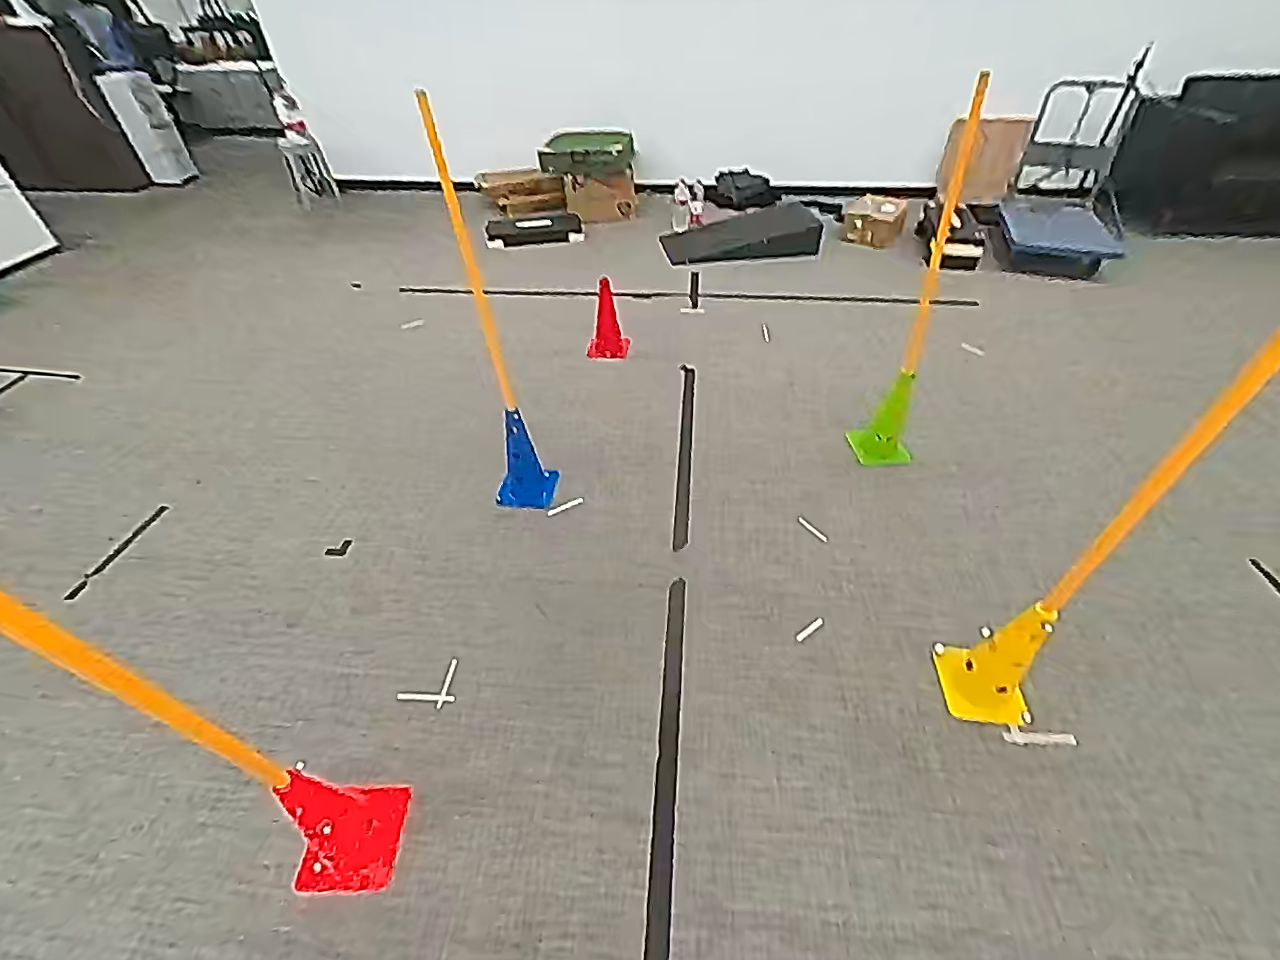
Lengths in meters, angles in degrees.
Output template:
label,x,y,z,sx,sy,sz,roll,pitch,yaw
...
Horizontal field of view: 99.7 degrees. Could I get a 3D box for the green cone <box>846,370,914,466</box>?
label,x,y,z,sx,sy,sz,roll,pitch,yaw
green cone,0.936,-0.252,2.017,0.200,0.368,0.202,-5,45,-3

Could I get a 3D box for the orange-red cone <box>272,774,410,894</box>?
label,x,y,z,sx,sy,sz,roll,pitch,yaw
orange-red cone,-0.623,0.659,1.066,0.199,0.360,0.198,0,43,0

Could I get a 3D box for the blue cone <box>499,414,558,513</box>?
label,x,y,z,sx,sy,sz,roll,pitch,yaw
blue cone,-0.409,-0.075,1.872,0.193,0.380,0.192,5,44,6
